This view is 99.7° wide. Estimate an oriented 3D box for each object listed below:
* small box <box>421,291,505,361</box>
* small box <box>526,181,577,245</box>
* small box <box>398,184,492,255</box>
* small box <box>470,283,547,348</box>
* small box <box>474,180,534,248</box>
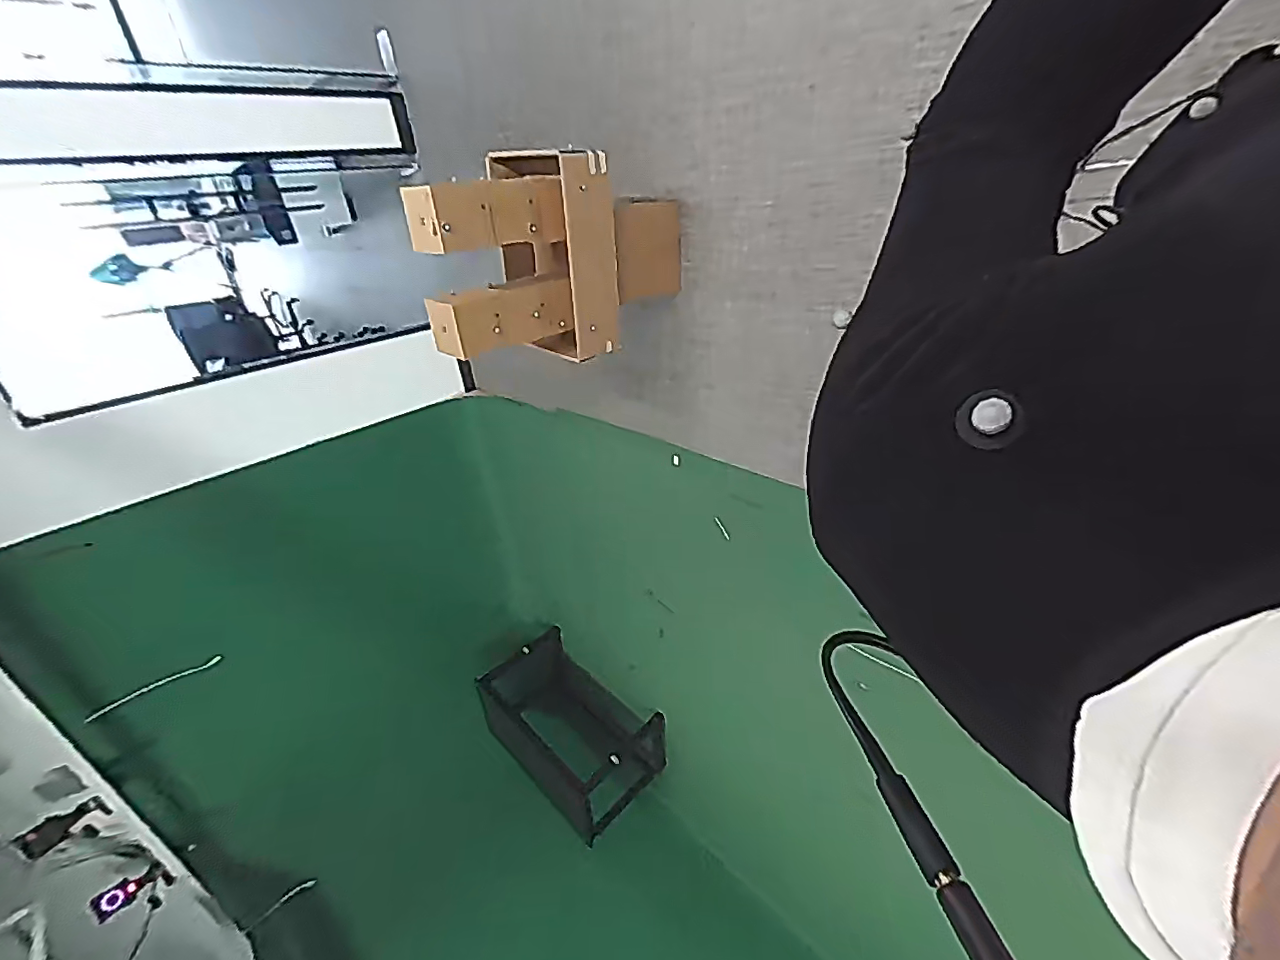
[{"bbox_3d":[-0.540,-0.479,1.664,0.179,0.176,0.168,24,130,39],"label":"small box"},{"bbox_3d":[-0.320,-0.852,1.720,0.179,0.176,0.168,27,131,36],"label":"small box"},{"bbox_3d":[-0.541,-0.731,1.510,0.179,0.176,0.168,23,128,39],"label":"small box"},{"bbox_3d":[-0.427,-0.541,1.764,0.179,0.176,0.168,24,129,39],"label":"small box"},{"bbox_3d":[-0.430,-0.795,1.613,0.179,0.176,0.168,23,128,39],"label":"small box"}]
